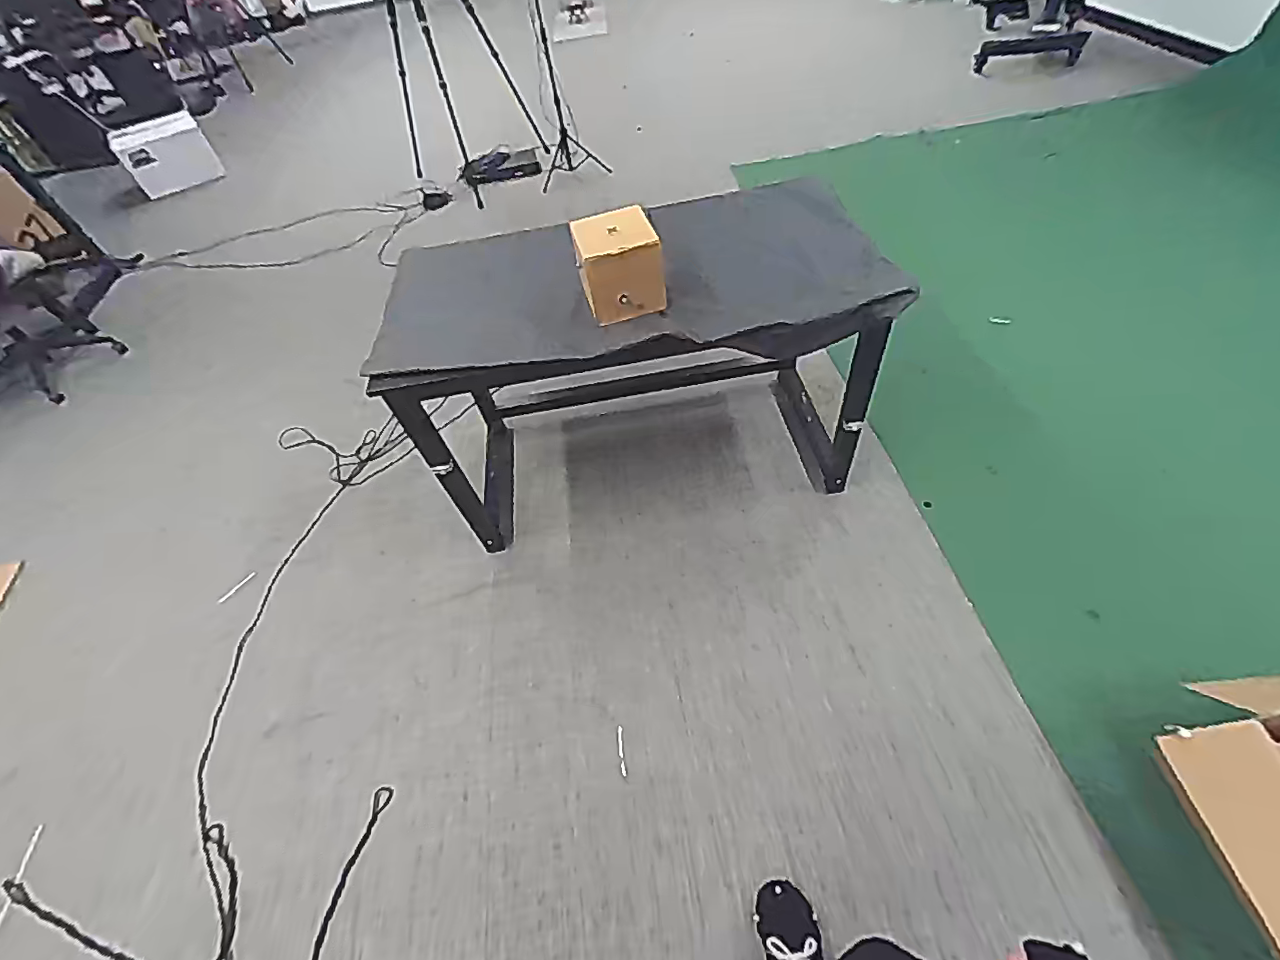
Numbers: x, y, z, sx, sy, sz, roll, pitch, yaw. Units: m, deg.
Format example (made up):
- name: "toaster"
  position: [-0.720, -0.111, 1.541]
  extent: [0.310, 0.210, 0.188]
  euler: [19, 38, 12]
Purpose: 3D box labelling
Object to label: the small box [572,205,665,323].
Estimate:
- name: "small box"
  position: [-0.047, -0.486, 1.223]
  extent: [0.168, 0.176, 0.179]
  euler: [-16, 52, -4]
